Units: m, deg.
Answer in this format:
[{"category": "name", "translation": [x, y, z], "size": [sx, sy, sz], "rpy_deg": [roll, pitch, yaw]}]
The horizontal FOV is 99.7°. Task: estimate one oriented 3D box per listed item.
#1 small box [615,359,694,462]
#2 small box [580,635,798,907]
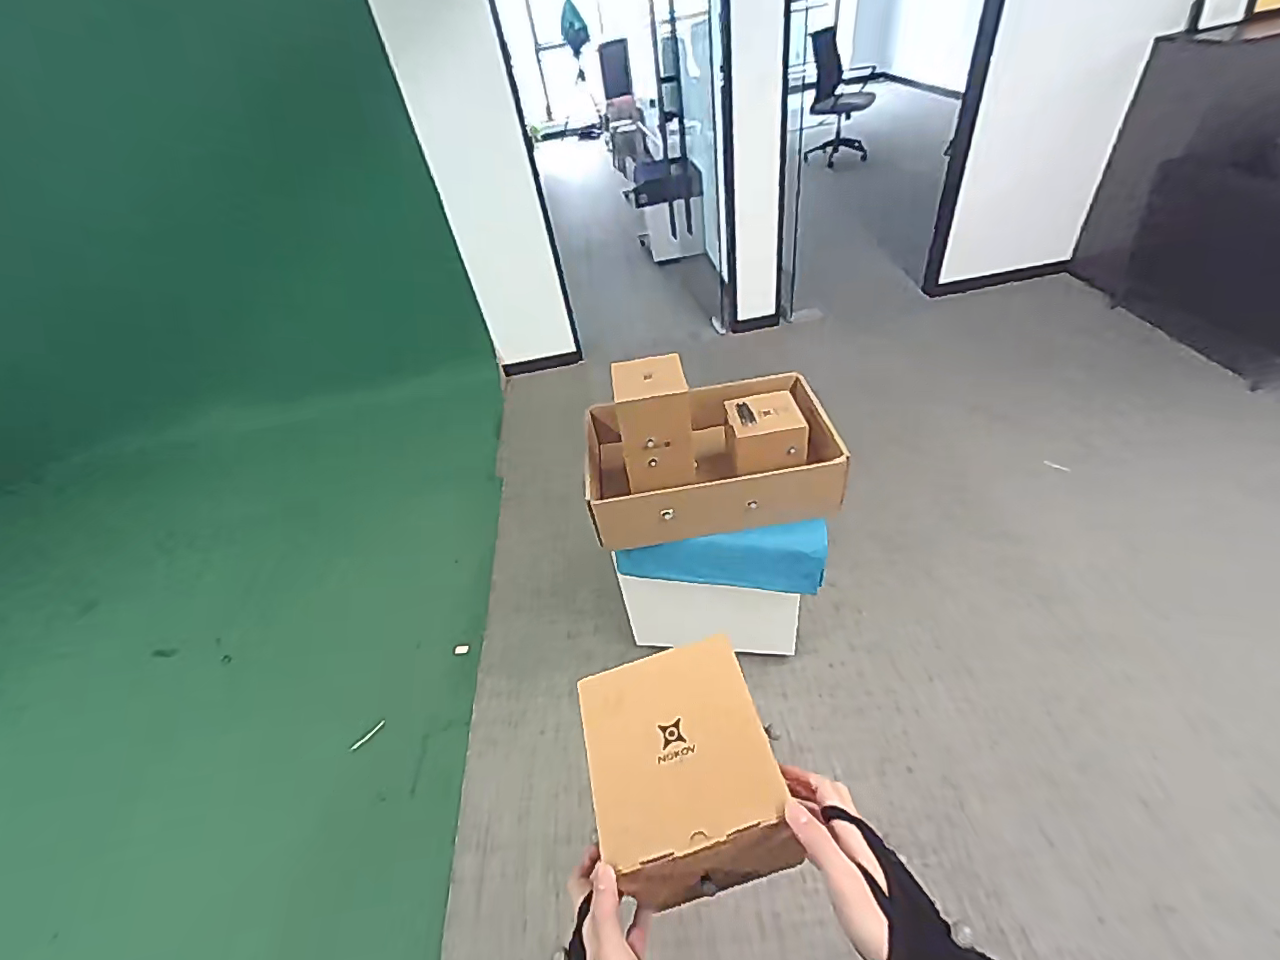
[{"category": "small box", "translation": [0.034, -0.167, 1.299], "size": [0.168, 0.176, 0.179], "rpy_deg": [-9, 41, 2]}, {"category": "small box", "translation": [0.048, 0.295, 0.549], "size": [0.168, 0.176, 0.179], "rpy_deg": [-18, 43, 1]}]
